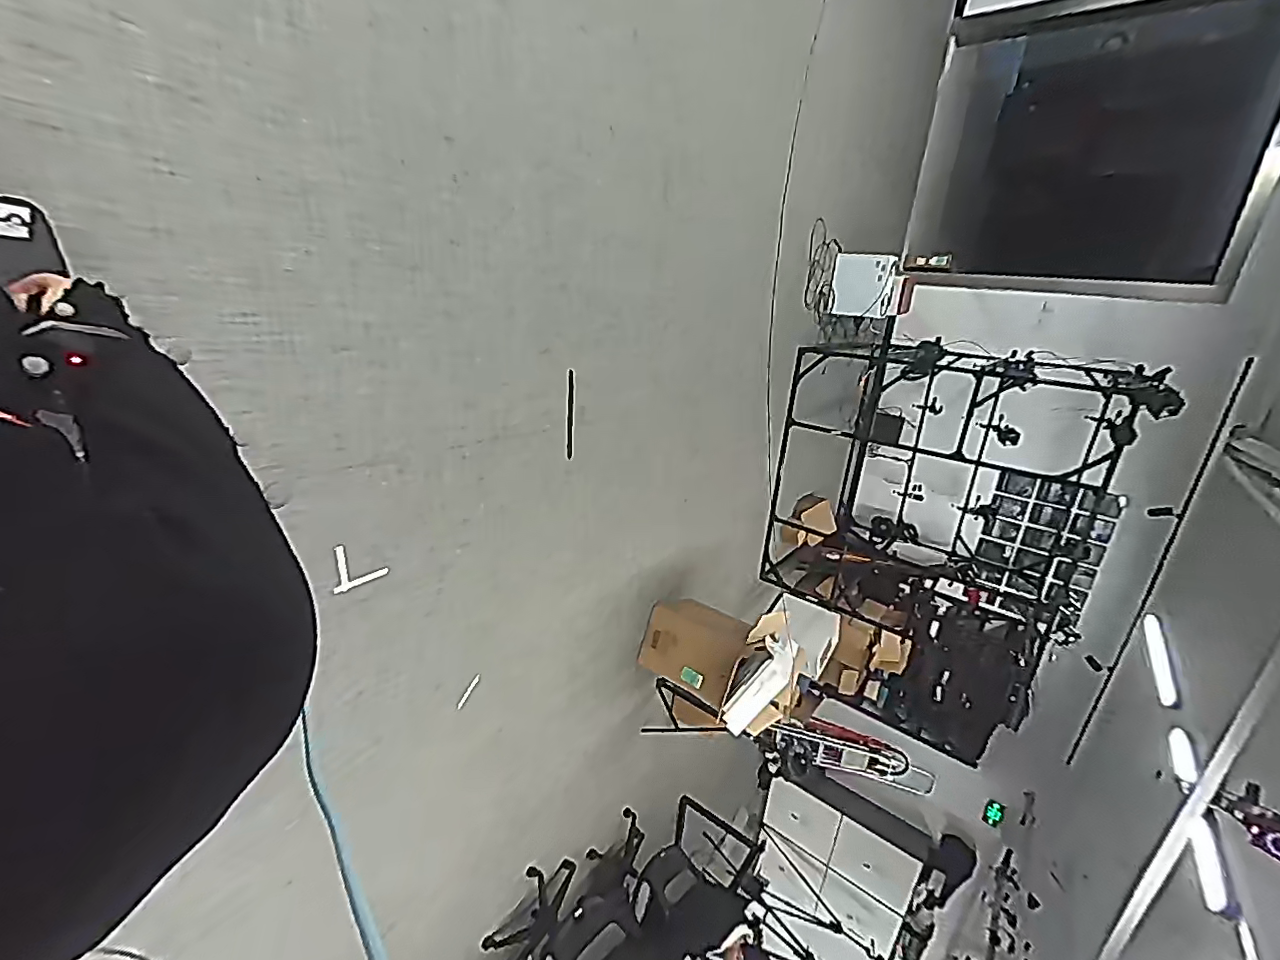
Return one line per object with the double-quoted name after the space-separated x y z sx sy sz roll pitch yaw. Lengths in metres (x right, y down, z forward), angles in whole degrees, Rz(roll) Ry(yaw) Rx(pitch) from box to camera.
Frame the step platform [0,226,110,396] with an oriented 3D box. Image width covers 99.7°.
-1.248 -0.271 0.785 0.684 0.204 0.286 -13 115 -53 "step platform"
